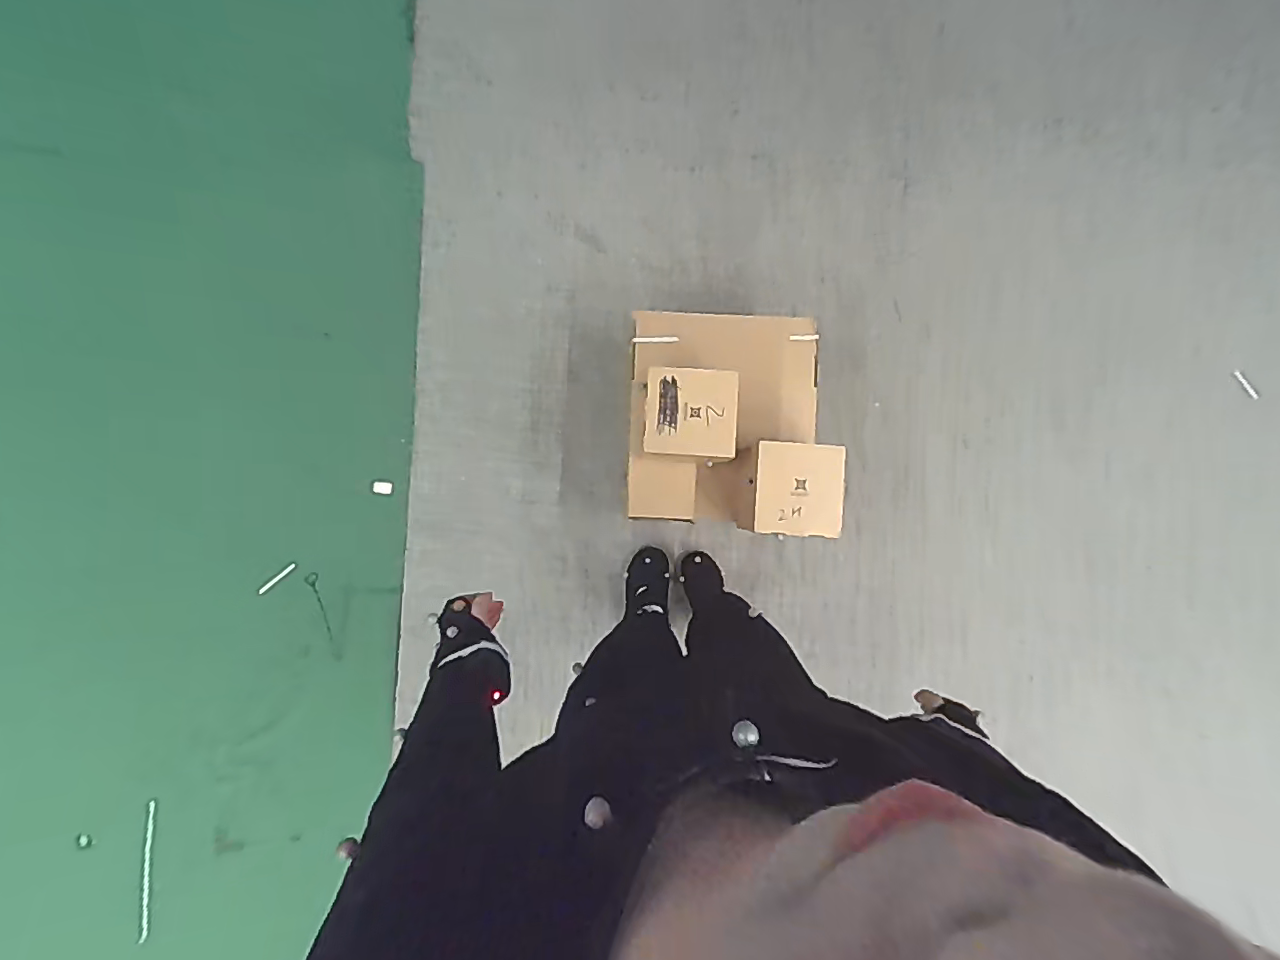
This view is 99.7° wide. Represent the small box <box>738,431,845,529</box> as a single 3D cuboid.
[{"bbox_3d":[0.297,0.003,1.088,0.168,0.176,0.179,4,88,0],"label":"small box"}]
